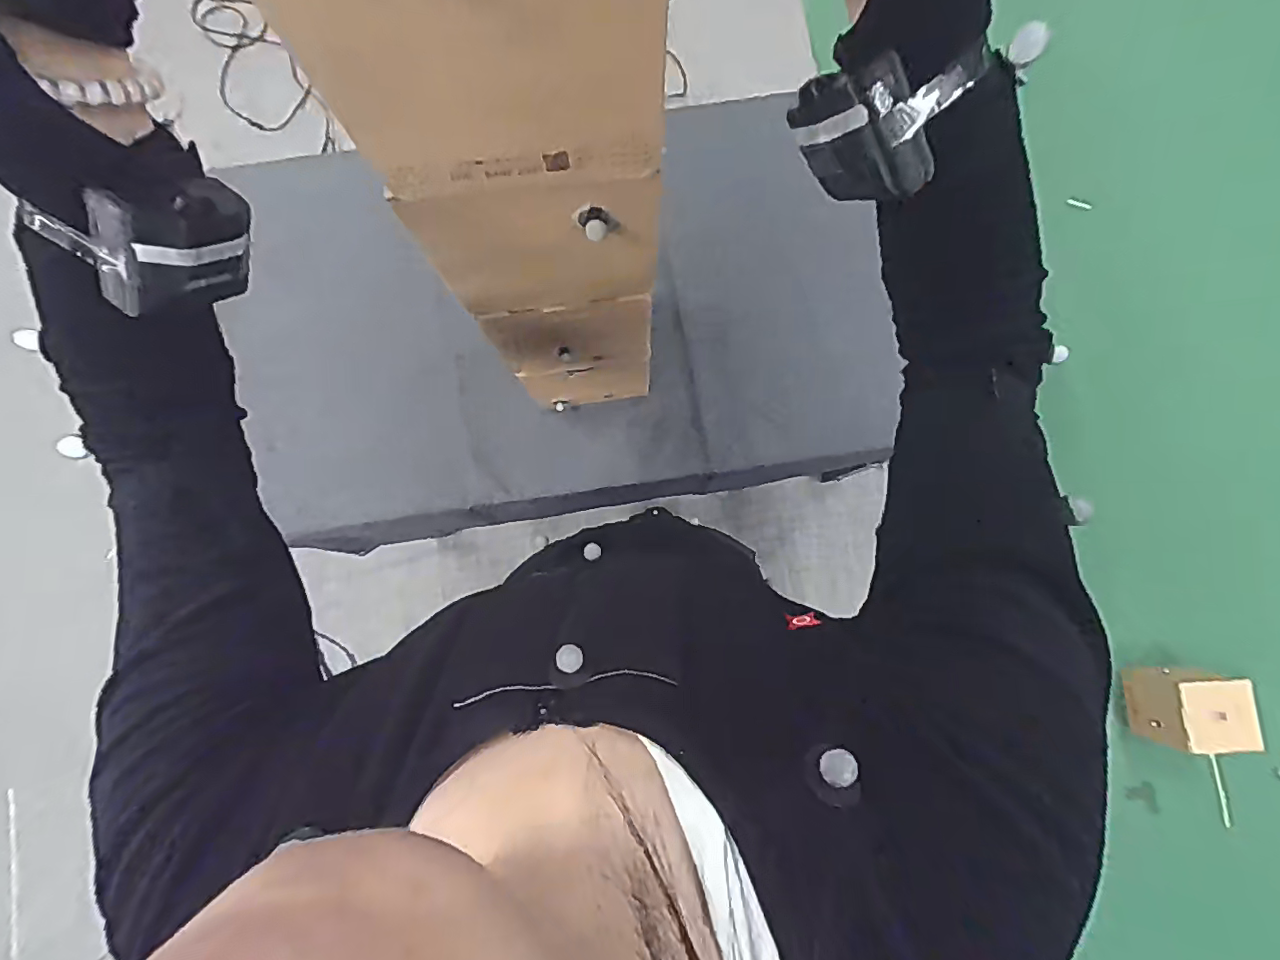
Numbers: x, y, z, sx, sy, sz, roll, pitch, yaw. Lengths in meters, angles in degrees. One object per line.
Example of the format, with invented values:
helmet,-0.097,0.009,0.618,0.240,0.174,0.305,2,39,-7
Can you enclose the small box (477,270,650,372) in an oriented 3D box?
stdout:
small box,-0.084,-0.237,0.595,0.168,0.176,0.179,-9,83,-1

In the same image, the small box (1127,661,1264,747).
small box,1.392,0.562,1.373,0.179,0.176,0.168,-3,83,0

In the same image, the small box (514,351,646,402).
small box,-0.083,-0.217,0.756,0.168,0.176,0.179,-9,82,-1

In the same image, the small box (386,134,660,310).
small box,-0.082,-0.254,0.431,0.179,0.176,0.168,-7,83,0

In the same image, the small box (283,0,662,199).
small box,-0.080,-0.277,0.269,0.168,0.176,0.179,-6,82,0
